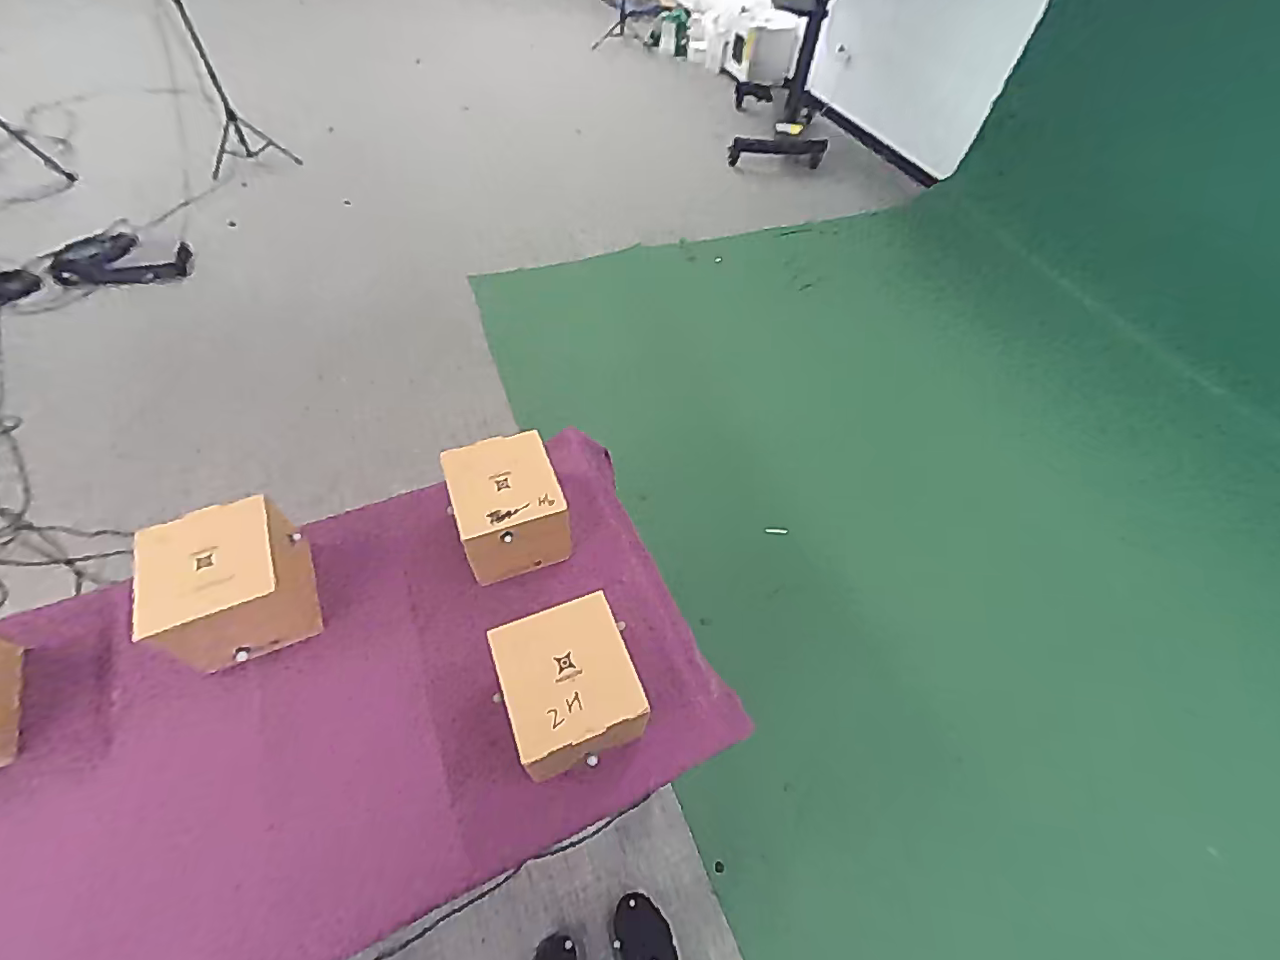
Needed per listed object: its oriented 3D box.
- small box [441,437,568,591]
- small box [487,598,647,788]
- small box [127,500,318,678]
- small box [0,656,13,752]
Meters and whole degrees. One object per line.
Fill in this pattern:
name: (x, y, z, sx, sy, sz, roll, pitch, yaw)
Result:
small box: (-0.227, 0.059, 0.922, 0.168, 0.176, 0.179, -16, 56, -16)
small box: (-0.103, 0.297, 0.752, 0.168, 0.176, 0.179, -17, 57, -16)
small box: (-0.607, 0.164, 0.804, 0.168, 0.176, 0.179, -19, 58, -18)
small box: (-0.944, 0.298, 0.663, 0.168, 0.176, 0.179, -21, 58, -21)
